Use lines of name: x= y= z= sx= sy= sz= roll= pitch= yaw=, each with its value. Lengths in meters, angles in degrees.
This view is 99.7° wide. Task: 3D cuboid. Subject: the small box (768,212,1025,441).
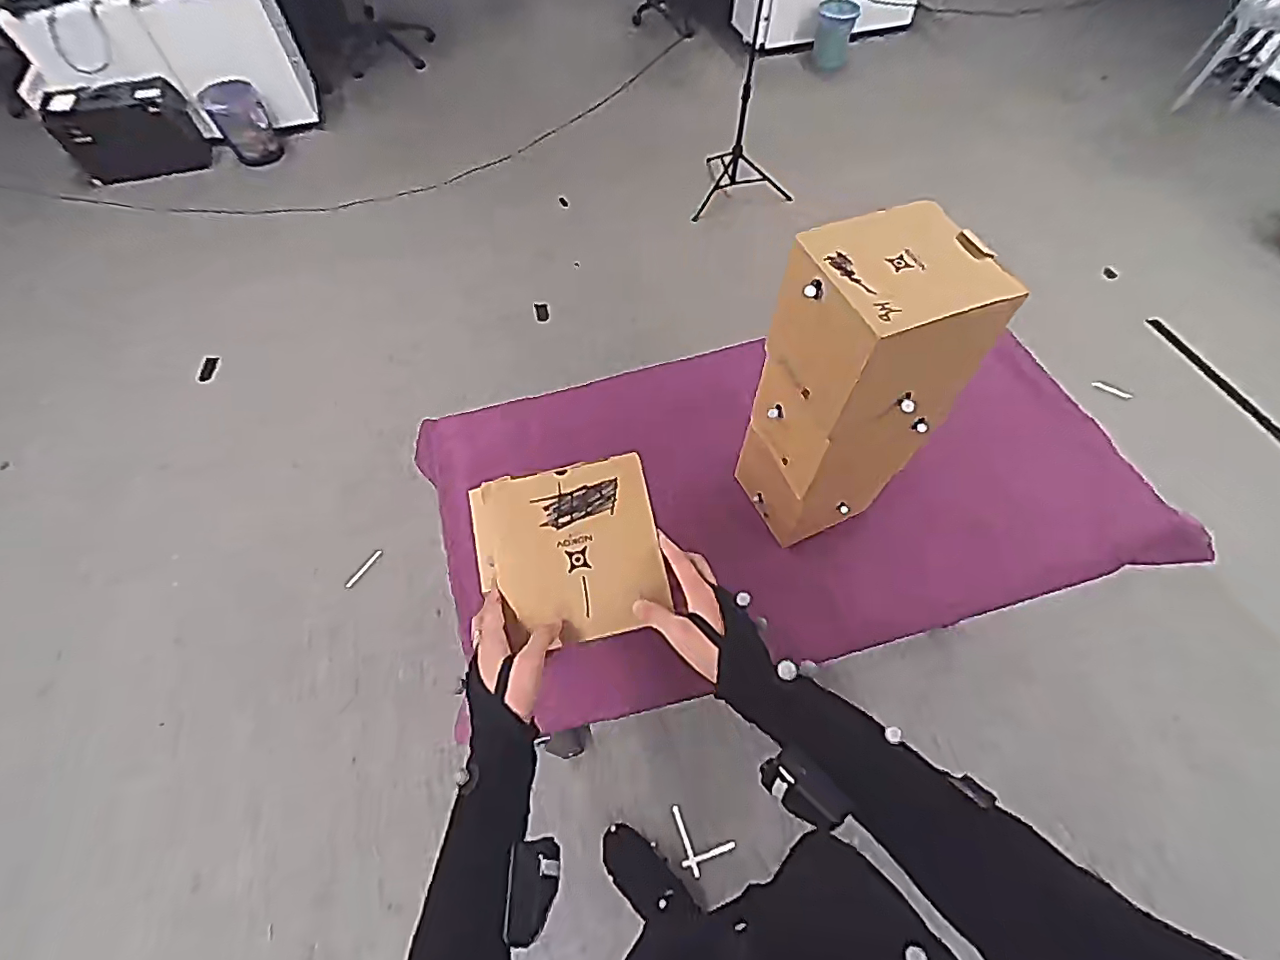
small box: x=0.272 y=-0.171 z=0.621 sx=0.179 sy=0.176 sz=0.168 roll=-17 pitch=60 yaw=-11

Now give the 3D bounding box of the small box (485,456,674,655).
small box: x=-0.068 y=0.088 z=0.618 sx=0.168 sy=0.176 sz=0.179 roll=-11 pitch=80 yaw=-6

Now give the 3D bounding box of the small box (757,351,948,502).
small box: x=0.279 y=-0.091 z=0.765 sx=0.179 sy=0.176 sz=0.168 roll=-17 pitch=61 yaw=-10

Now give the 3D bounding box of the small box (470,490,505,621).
small box: x=-0.146 y=0.111 z=0.831 sx=0.179 sy=0.176 sz=0.168 roll=-13 pitch=59 yaw=-9
